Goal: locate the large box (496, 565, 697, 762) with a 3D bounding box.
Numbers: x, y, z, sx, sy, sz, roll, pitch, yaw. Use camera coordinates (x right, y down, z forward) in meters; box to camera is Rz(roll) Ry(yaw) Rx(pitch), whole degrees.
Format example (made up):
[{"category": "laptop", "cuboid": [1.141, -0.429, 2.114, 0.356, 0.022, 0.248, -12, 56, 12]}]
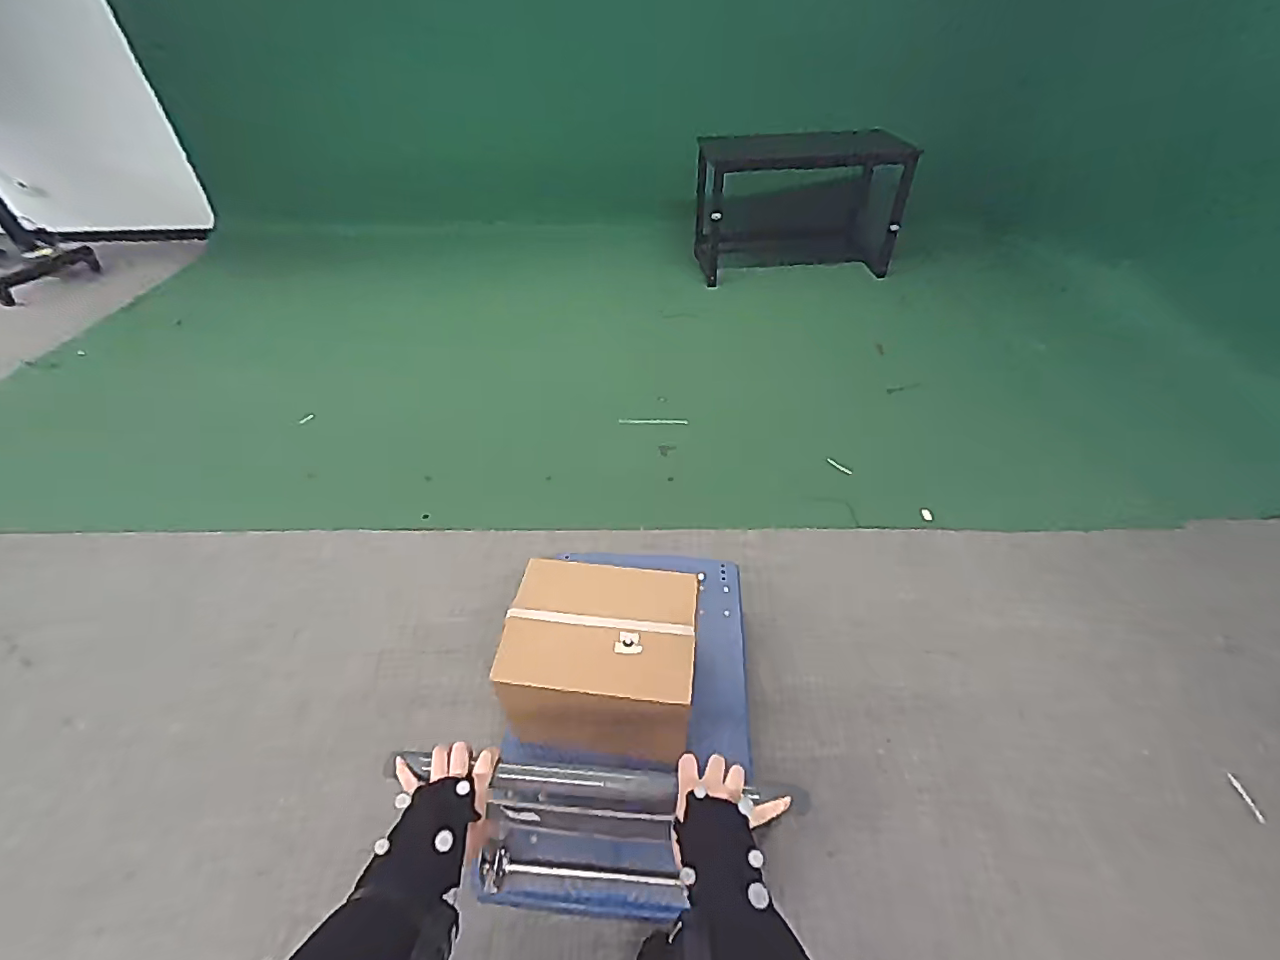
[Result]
[{"category": "large box", "cuboid": [-0.082, 0.432, 1.281, 0.408, 0.320, 0.320, 5, 43, 5]}]
